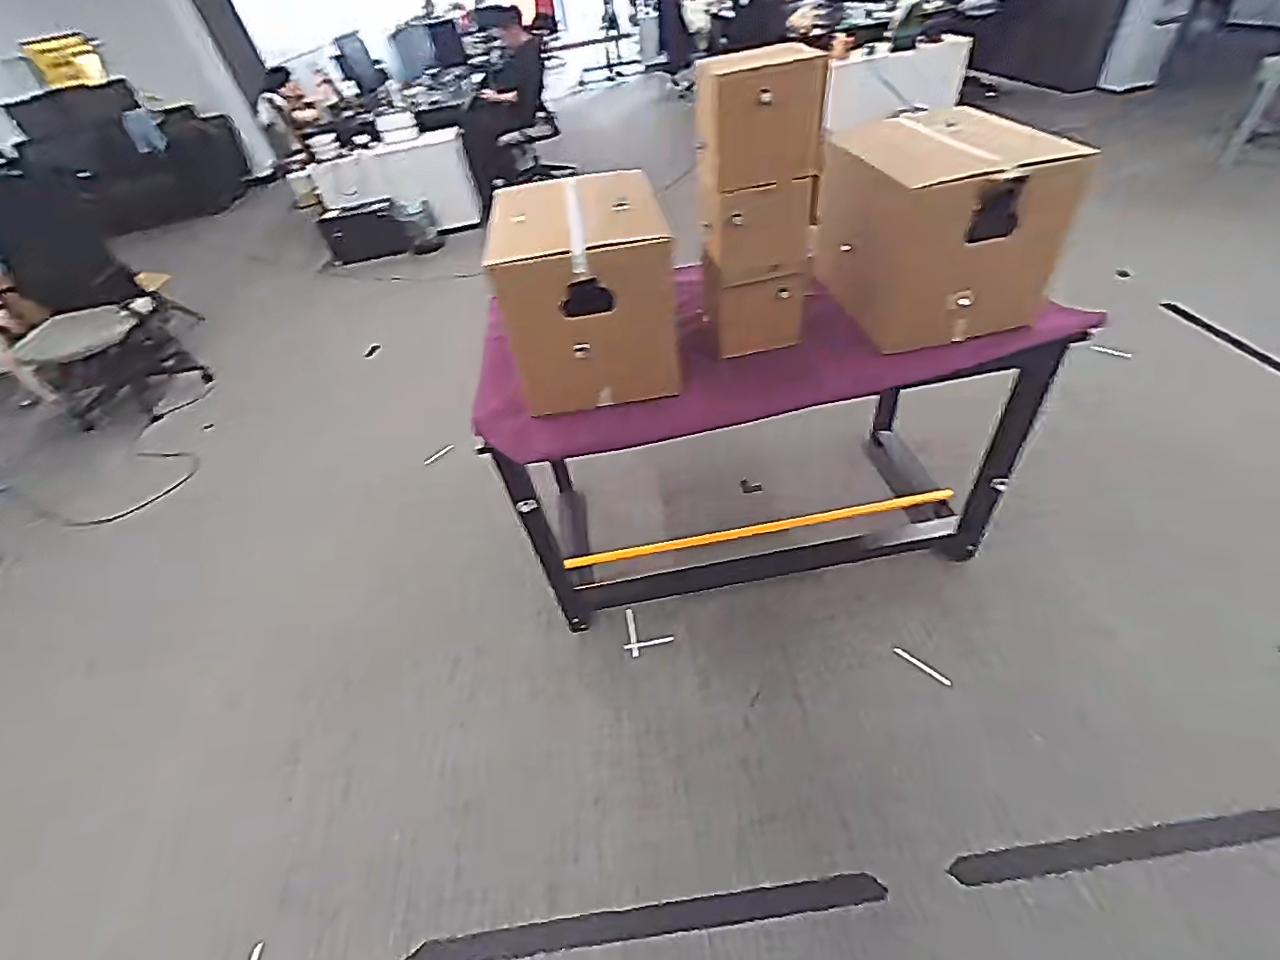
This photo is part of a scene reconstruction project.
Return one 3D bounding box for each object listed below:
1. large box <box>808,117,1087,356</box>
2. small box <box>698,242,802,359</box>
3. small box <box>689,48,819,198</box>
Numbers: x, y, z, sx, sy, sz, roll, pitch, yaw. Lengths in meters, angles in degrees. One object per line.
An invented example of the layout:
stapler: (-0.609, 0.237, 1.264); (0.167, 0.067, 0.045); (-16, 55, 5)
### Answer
large box: (0.573, -0.509, 1.117); (0.320, 0.320, 0.408); (-11, 43, 0)
small box: (0.226, -0.381, 1.153); (0.179, 0.176, 0.168); (-11, 43, -1)
small box: (0.187, -0.607, 0.922); (0.179, 0.176, 0.168); (-11, 44, 1)
